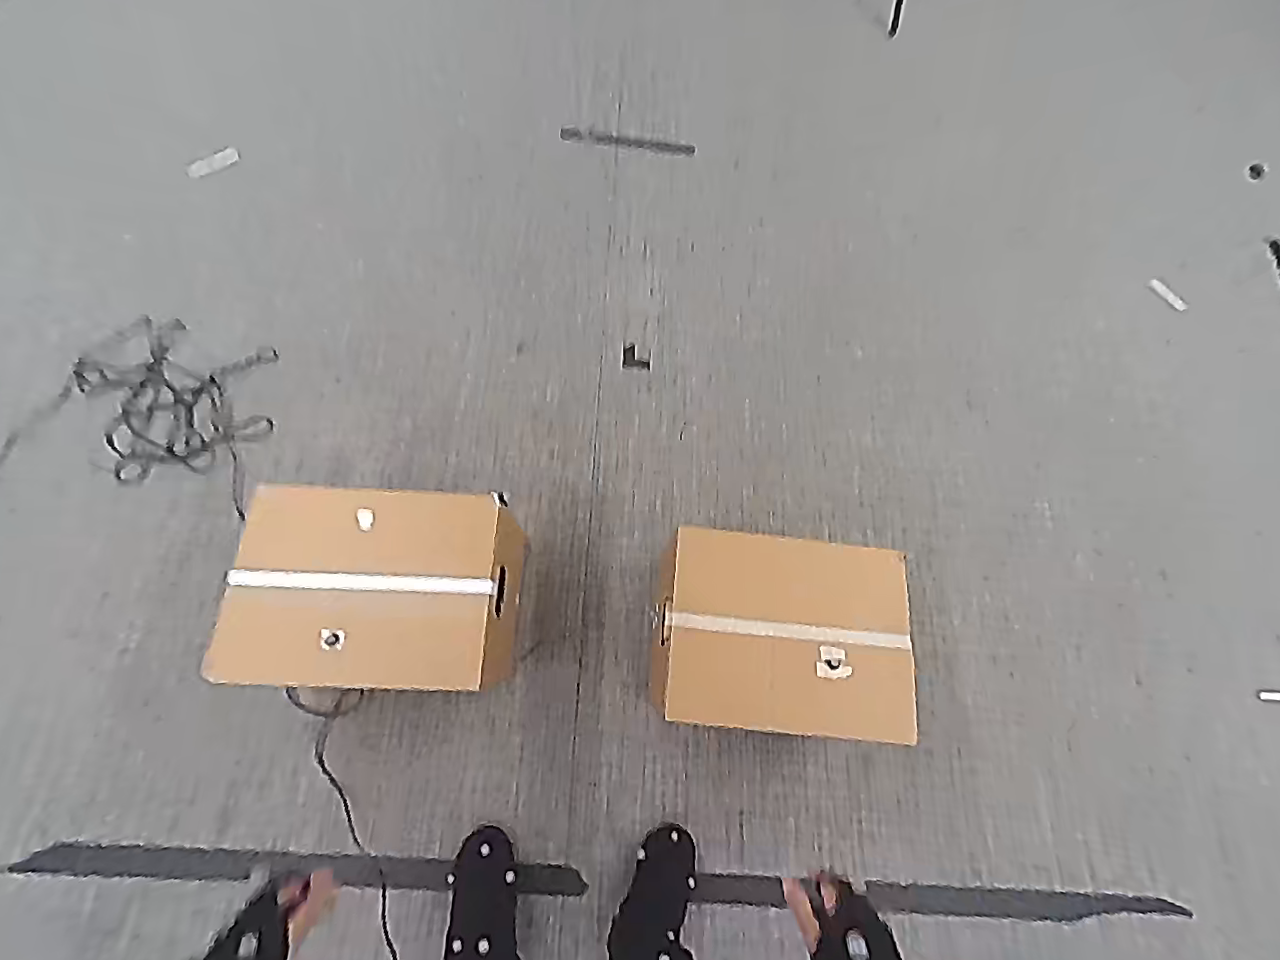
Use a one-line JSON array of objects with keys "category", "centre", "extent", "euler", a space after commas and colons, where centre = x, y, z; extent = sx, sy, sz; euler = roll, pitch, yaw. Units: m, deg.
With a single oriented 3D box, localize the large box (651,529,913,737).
[{"category": "large box", "centre": [0.241, 0.299, 1.047], "extent": [0.408, 0.320, 0.320], "euler": [7, 71, -3]}]
